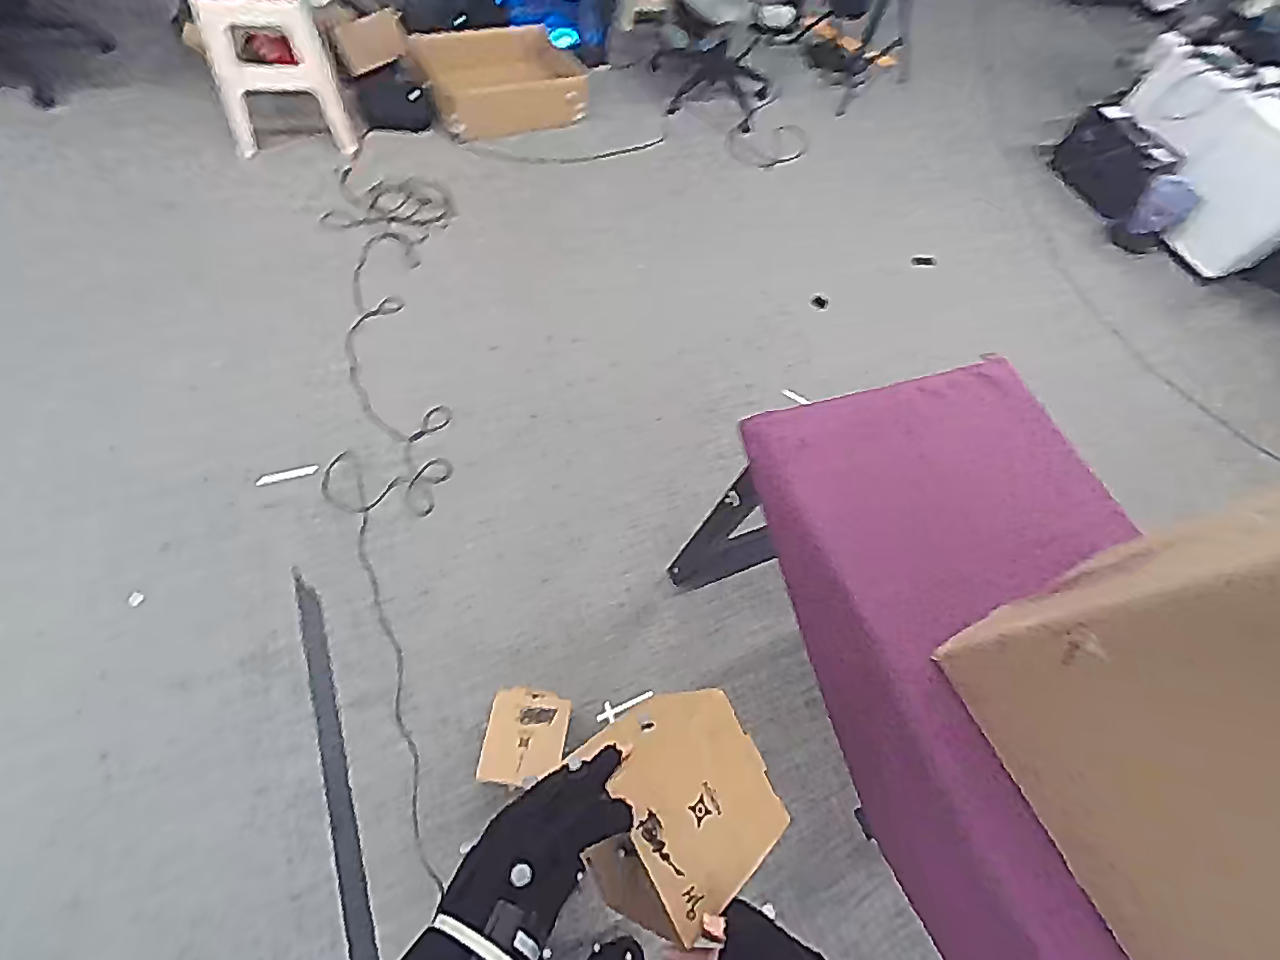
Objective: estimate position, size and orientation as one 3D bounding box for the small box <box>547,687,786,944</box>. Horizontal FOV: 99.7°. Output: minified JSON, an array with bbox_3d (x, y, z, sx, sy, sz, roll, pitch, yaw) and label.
[{"bbox_3d":[0.024,0.360,0.620,0.179,0.176,0.168,-25,82,-38],"label":"small box"}]

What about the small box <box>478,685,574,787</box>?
[{"bbox_3d":[-0.250,0.567,1.195,0.168,0.176,0.179,13,62,-6],"label":"small box"}]
